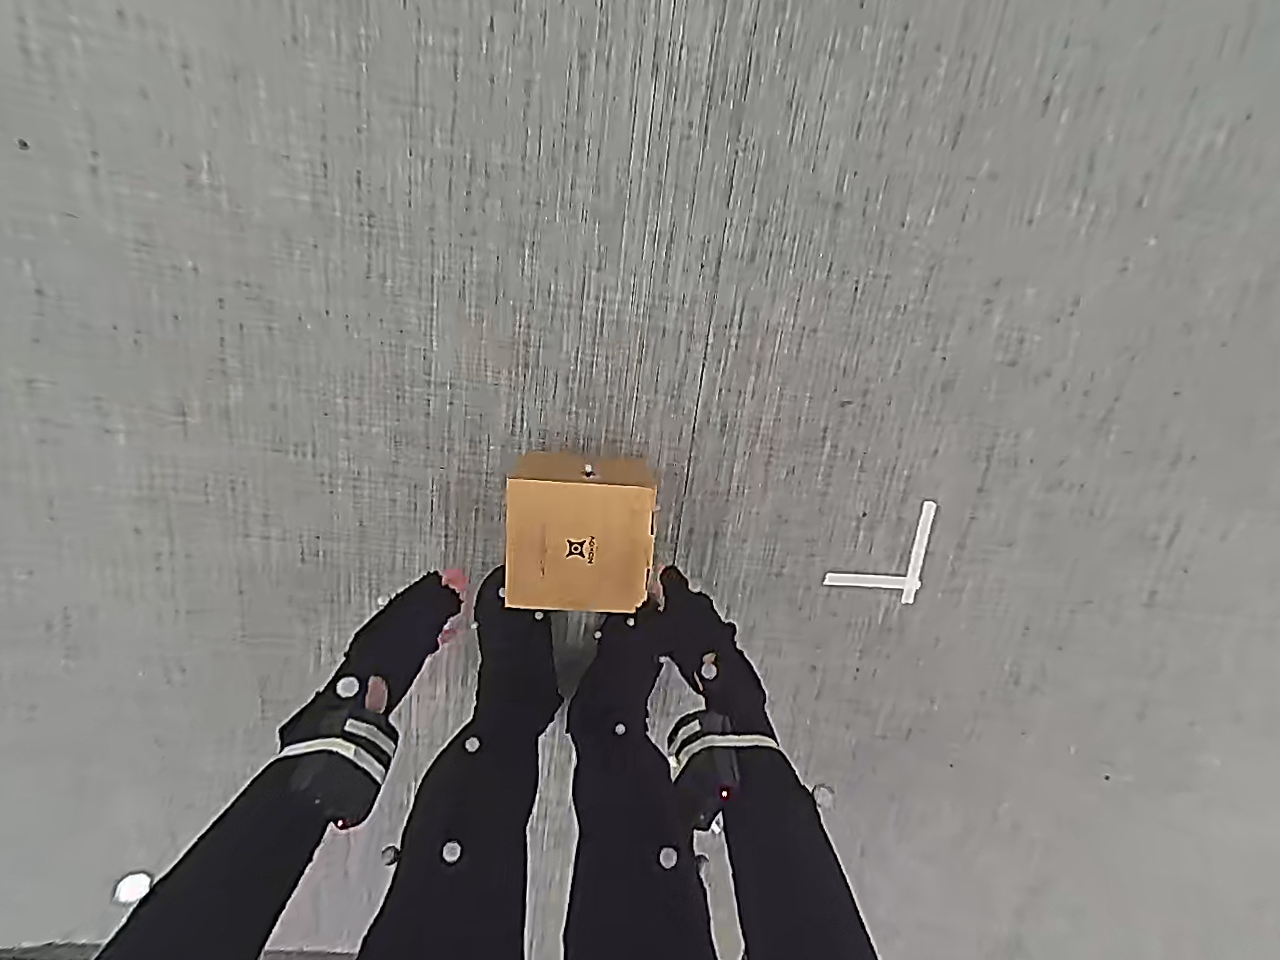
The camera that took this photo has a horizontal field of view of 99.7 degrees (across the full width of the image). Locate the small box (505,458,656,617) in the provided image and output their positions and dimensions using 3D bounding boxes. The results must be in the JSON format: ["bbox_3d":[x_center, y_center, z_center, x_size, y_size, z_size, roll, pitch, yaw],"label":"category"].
[{"bbox_3d":[-0.078,0.068,0.729,0.179,0.176,0.168,3,103,-4],"label":"small box"}]
